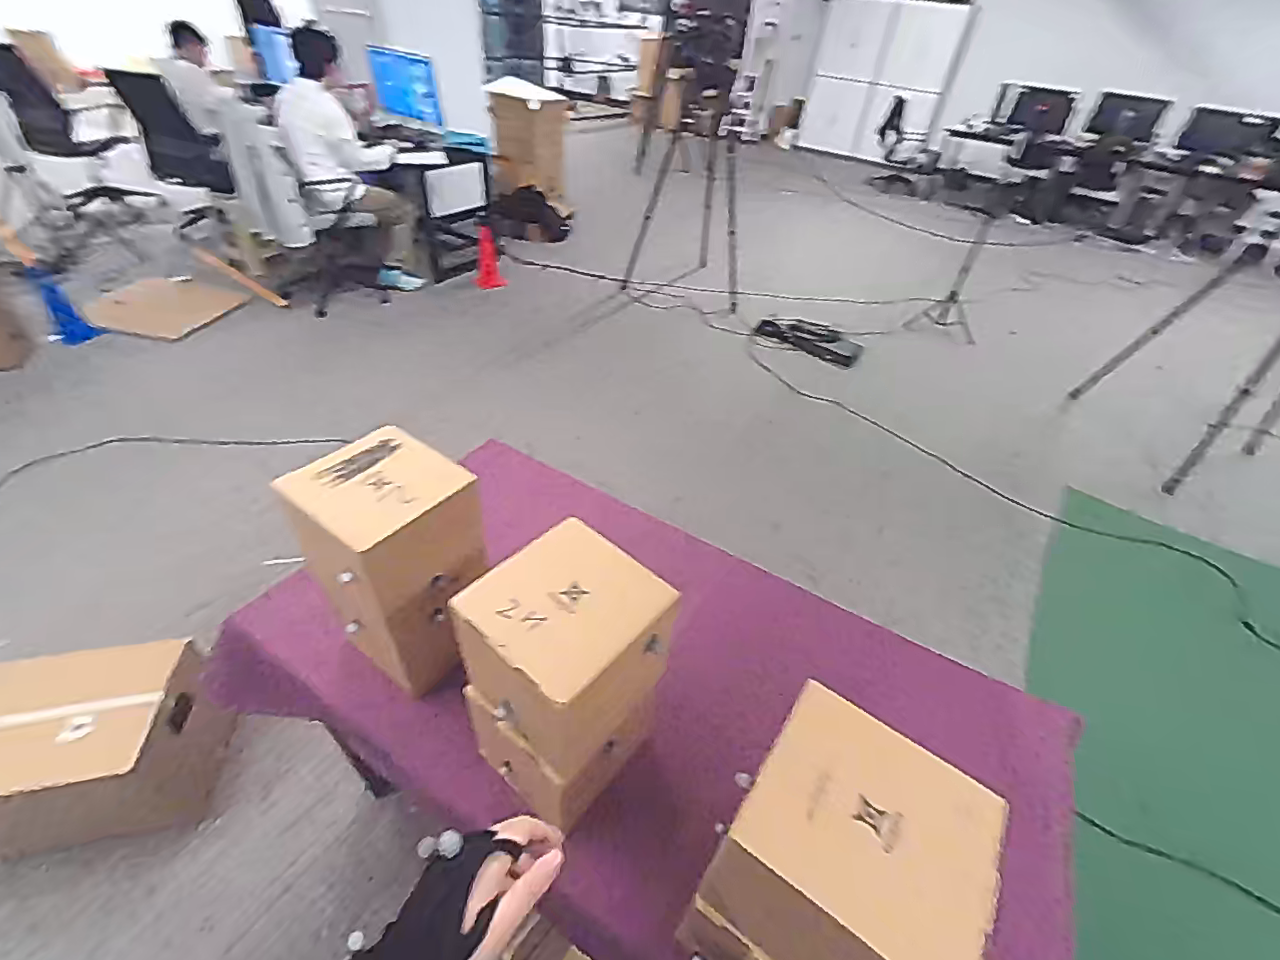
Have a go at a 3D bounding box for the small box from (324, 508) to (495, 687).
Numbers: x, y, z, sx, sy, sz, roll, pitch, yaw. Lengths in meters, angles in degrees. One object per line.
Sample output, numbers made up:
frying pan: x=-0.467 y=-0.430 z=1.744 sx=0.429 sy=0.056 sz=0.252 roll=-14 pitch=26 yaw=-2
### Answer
small box: x=-0.338 y=0.181 z=0.830 sx=0.179 sy=0.176 sz=0.168 roll=28 pitch=47 yaw=24

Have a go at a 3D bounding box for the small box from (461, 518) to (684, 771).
small box: x=-0.074 y=0.182 z=0.614 sx=0.168 sy=0.176 sz=0.179 roll=33 pitch=49 yaw=28

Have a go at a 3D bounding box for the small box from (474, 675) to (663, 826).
small box: x=-0.093 y=0.308 z=0.718 sx=0.168 sy=0.176 sz=0.179 roll=32 pitch=48 yaw=27

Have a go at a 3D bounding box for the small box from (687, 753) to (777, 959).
small box: x=0.163 y=0.449 z=0.585 sx=0.168 sy=0.176 sz=0.179 roll=28 pitch=45 yaw=23

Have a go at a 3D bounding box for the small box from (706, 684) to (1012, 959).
small box: x=0.180 y=0.327 z=0.477 sx=0.179 sy=0.176 sz=0.168 roll=29 pitch=45 yaw=24

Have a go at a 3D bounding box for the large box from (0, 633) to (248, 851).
large box: x=-1.232 y=0.599 z=1.254 sx=0.408 sy=0.320 sz=0.320 roll=-5 pitch=43 yaw=-13
